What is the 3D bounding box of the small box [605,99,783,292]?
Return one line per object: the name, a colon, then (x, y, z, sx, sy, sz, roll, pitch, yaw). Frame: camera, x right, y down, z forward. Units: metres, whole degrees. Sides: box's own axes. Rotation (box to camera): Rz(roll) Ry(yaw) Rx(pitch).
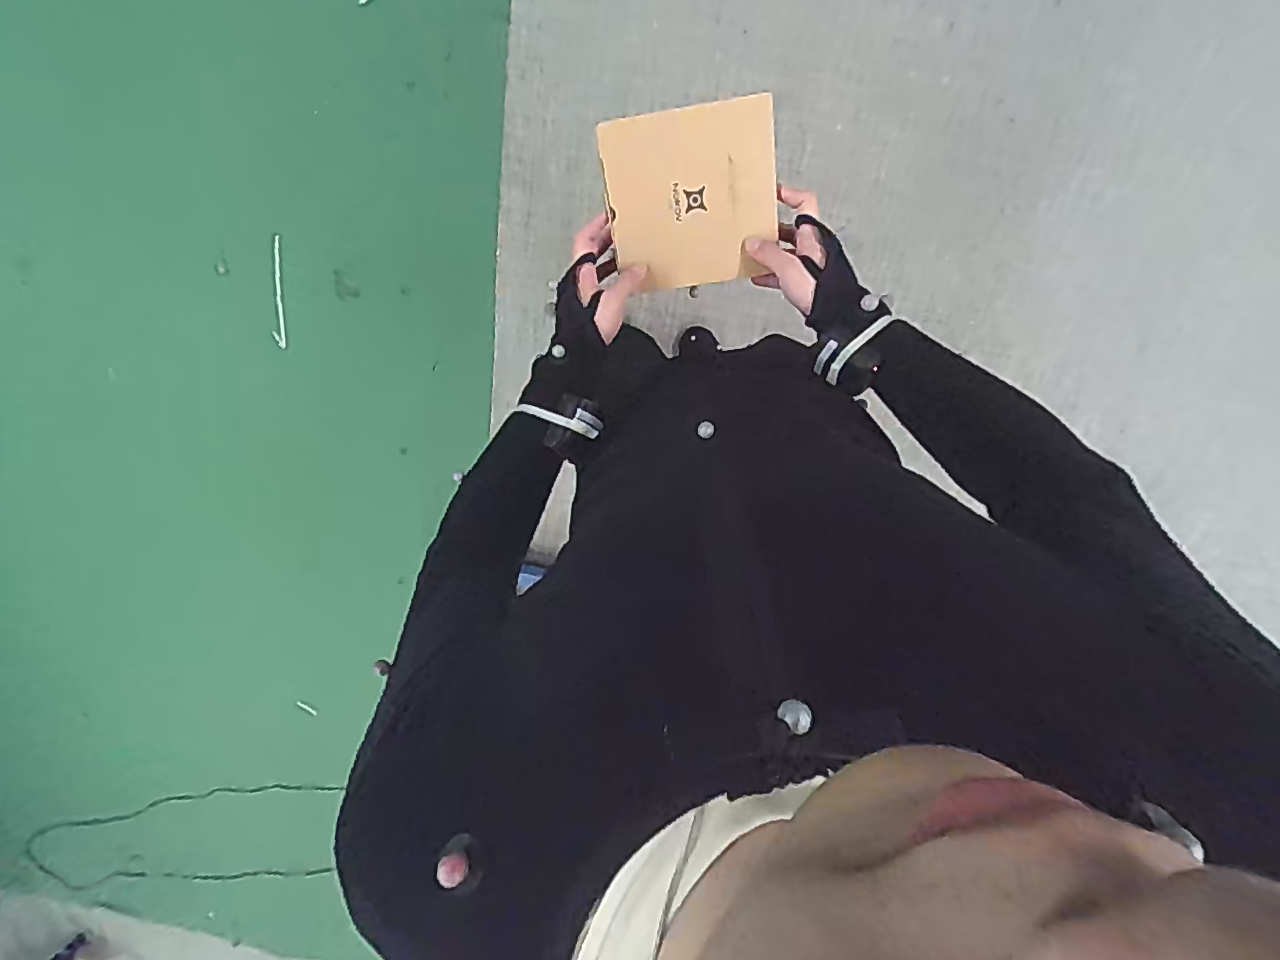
small box: (0.063, -0.316, 0.632, 0.179, 0.176, 0.168, -6, 112, 4)
